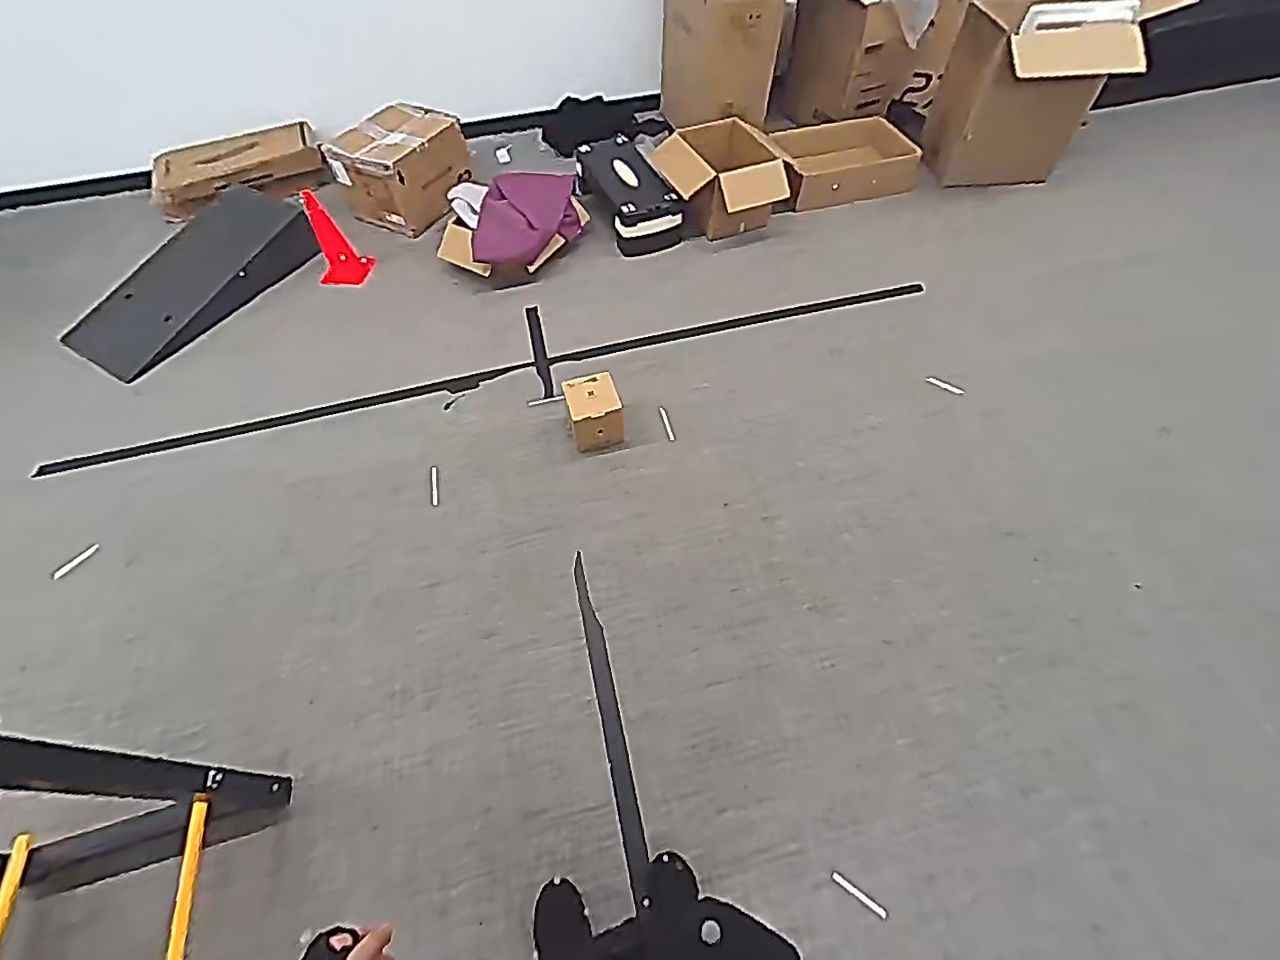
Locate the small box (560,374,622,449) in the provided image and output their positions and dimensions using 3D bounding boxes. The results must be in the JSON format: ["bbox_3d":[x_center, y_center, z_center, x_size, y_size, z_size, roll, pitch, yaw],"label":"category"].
[{"bbox_3d":[-0.161,-0.221,1.807,0.168,0.176,0.179,-15,58,-8],"label":"small box"}]
